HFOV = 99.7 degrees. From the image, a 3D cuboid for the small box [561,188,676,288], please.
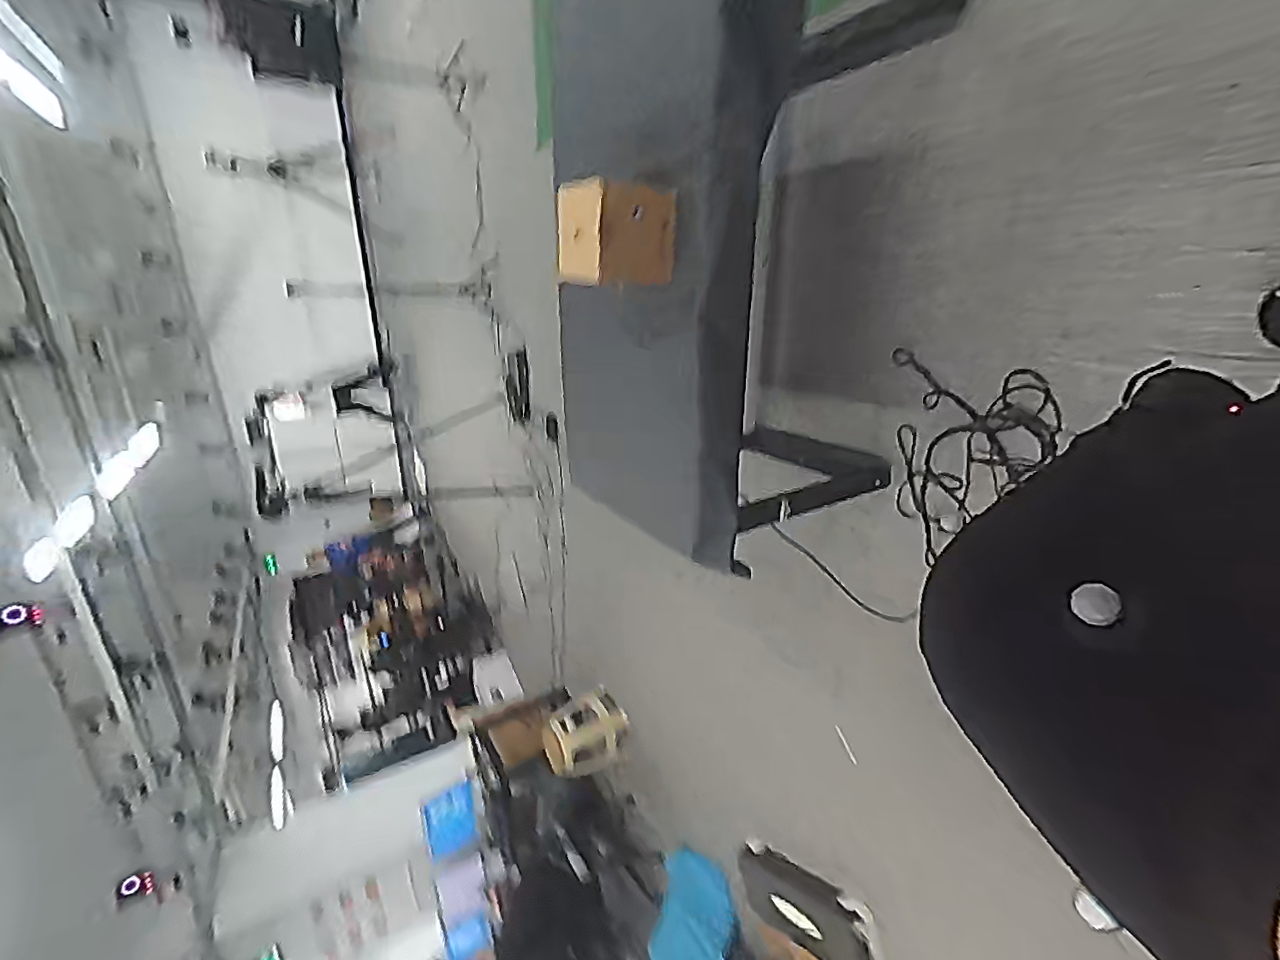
[{"bbox_3d":[-0.043,-0.471,1.067,0.179,0.176,0.168,32,126,52],"label":"small box"}]
